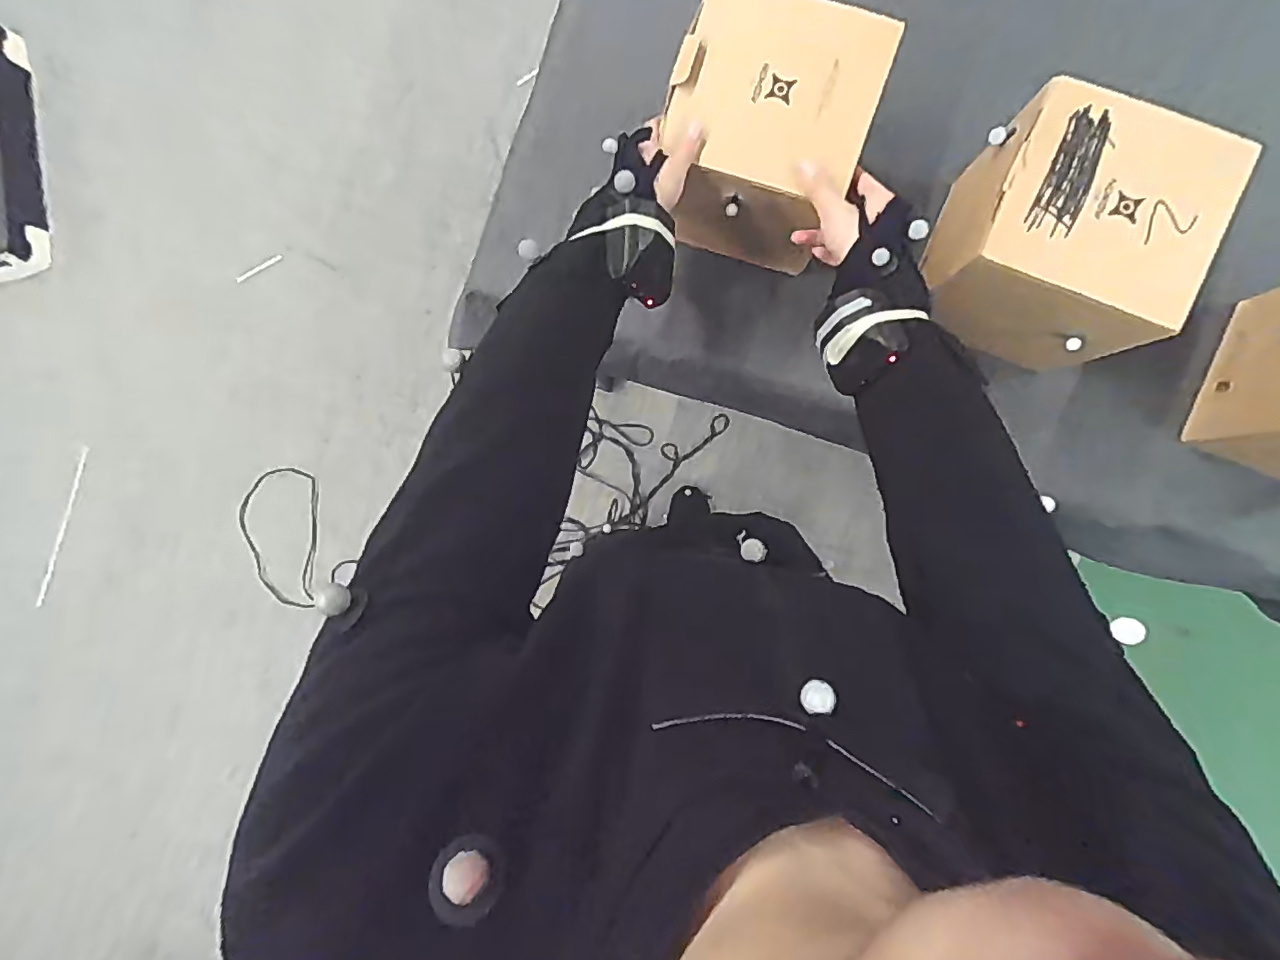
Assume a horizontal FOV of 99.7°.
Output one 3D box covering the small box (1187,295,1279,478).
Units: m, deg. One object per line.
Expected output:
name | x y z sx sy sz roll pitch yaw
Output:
small box | 0.686 -0.087 0.499 0.179 0.176 0.168 22 91 4
